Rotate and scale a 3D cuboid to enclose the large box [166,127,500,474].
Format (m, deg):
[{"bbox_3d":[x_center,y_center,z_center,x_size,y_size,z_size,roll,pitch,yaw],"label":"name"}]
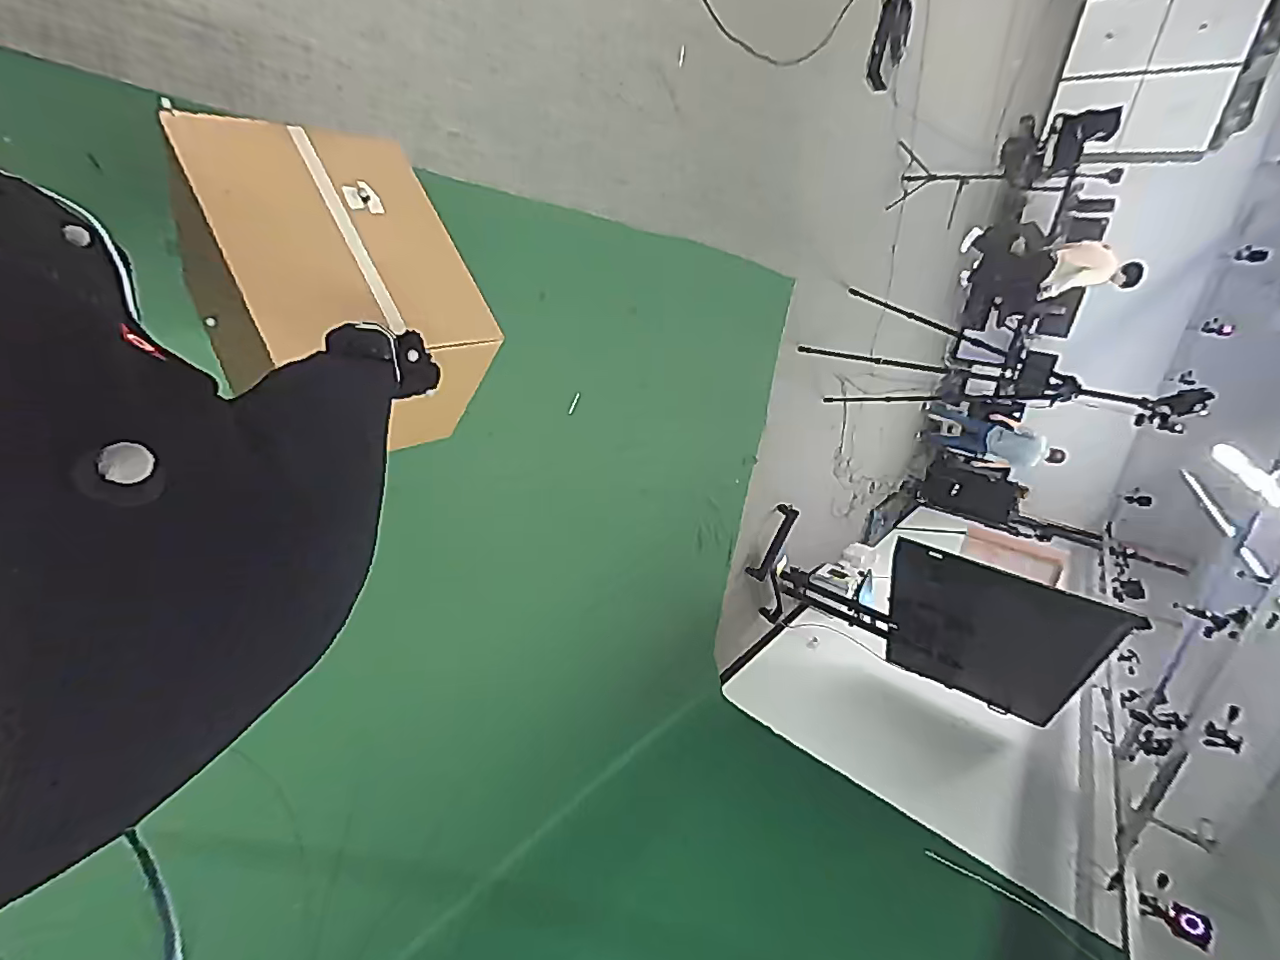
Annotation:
[{"bbox_3d":[-0.498,-0.281,0.896,0.320,0.408,0.320,-22,168,-41],"label":"large box"}]
